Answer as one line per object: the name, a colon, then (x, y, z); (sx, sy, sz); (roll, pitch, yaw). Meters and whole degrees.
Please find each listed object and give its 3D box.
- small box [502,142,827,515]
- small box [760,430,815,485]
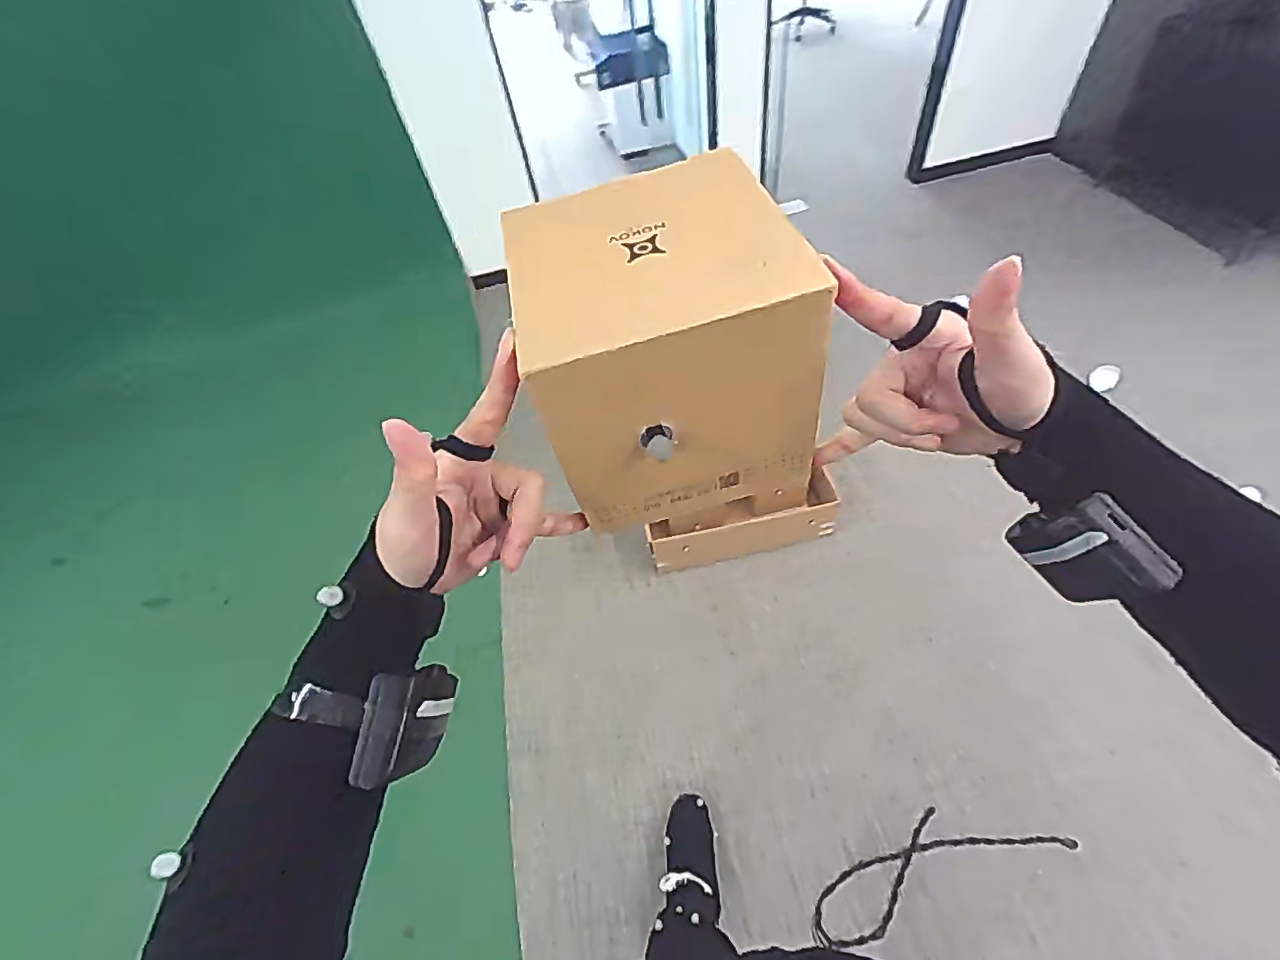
small box: (0.015, -0.094, 0.379); (0.168, 0.176, 0.179); (-16, 51, 1)
small box: (0.425, -0.107, 1.687); (0.179, 0.176, 0.168); (-14, 53, -2)
